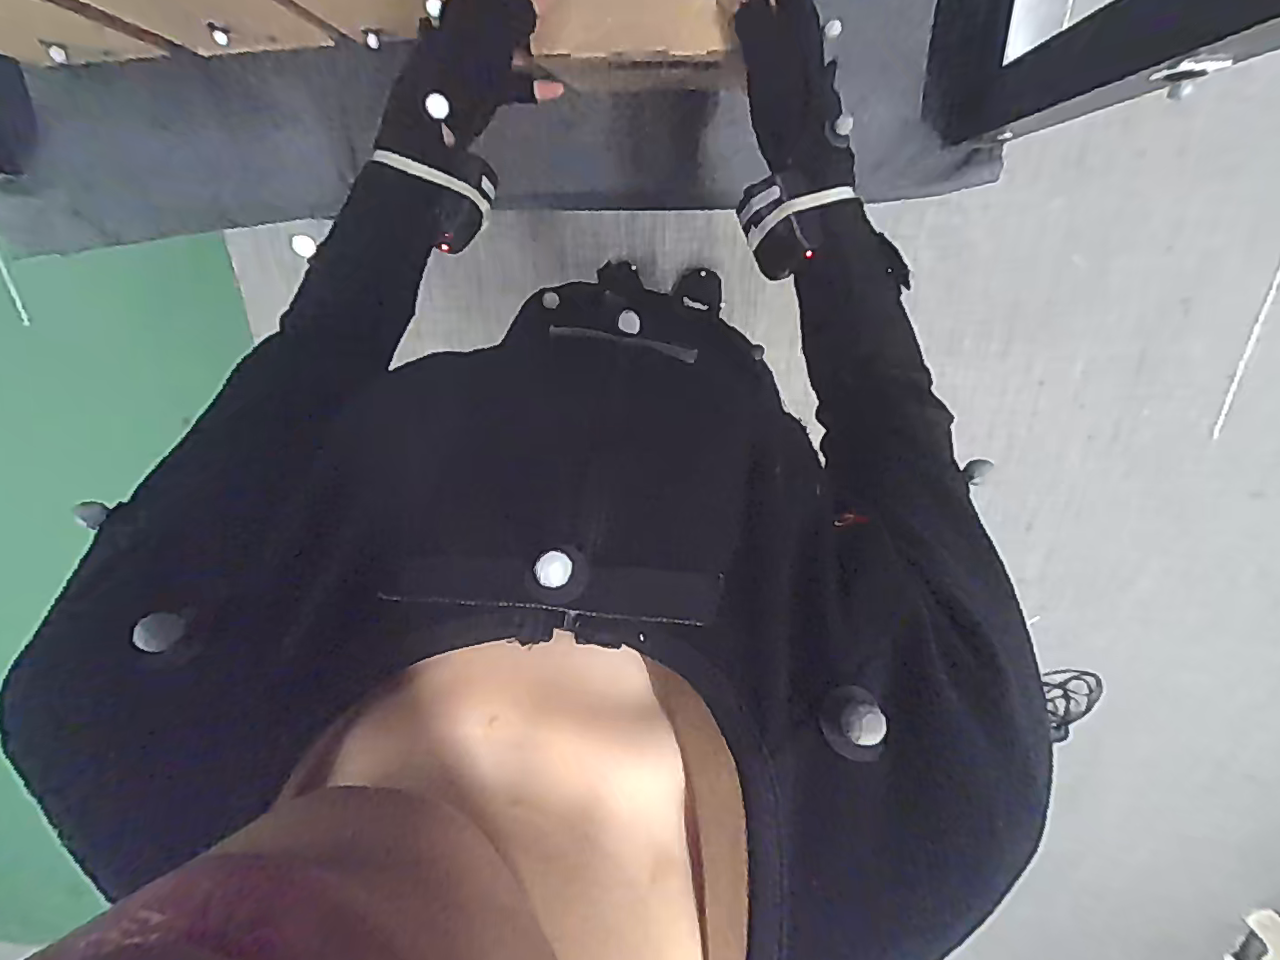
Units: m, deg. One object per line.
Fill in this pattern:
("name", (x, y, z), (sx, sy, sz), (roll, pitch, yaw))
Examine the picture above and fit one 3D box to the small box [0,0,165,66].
("small box", (-0.606, -0.518, 0.496), (0.168, 0.176, 0.179), (-1, 112, 5))
